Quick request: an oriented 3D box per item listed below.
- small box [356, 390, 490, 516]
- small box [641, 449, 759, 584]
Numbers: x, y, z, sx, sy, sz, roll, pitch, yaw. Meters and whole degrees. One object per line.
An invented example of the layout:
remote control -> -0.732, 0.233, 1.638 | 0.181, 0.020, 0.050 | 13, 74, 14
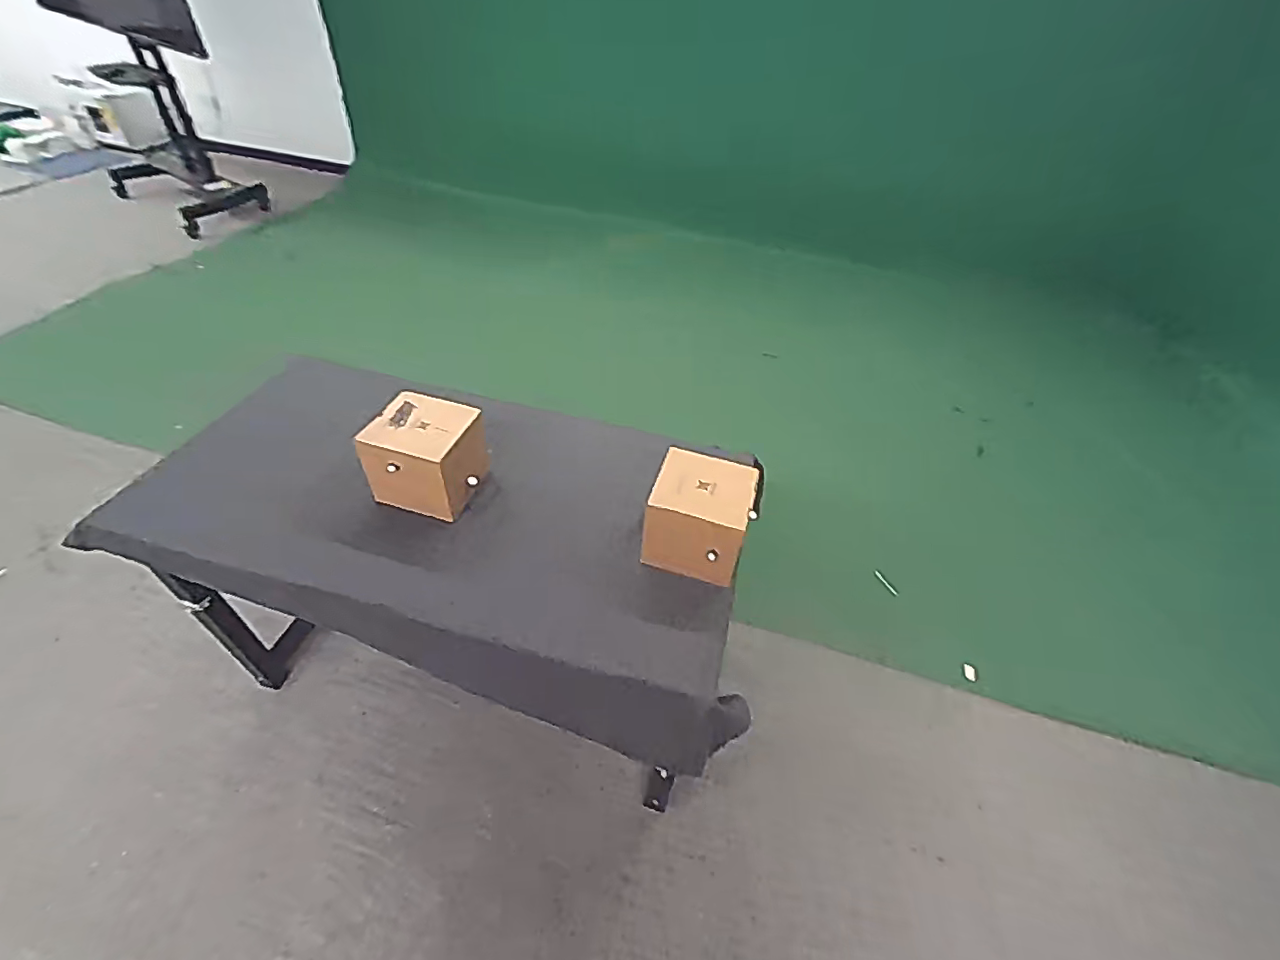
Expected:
small box -> -0.423, -0.051, 1.085 | 0.179, 0.176, 0.168 | 15, 46, 8
small box -> 0.110, 0.071, 1.020 | 0.179, 0.176, 0.168 | 14, 44, 10
